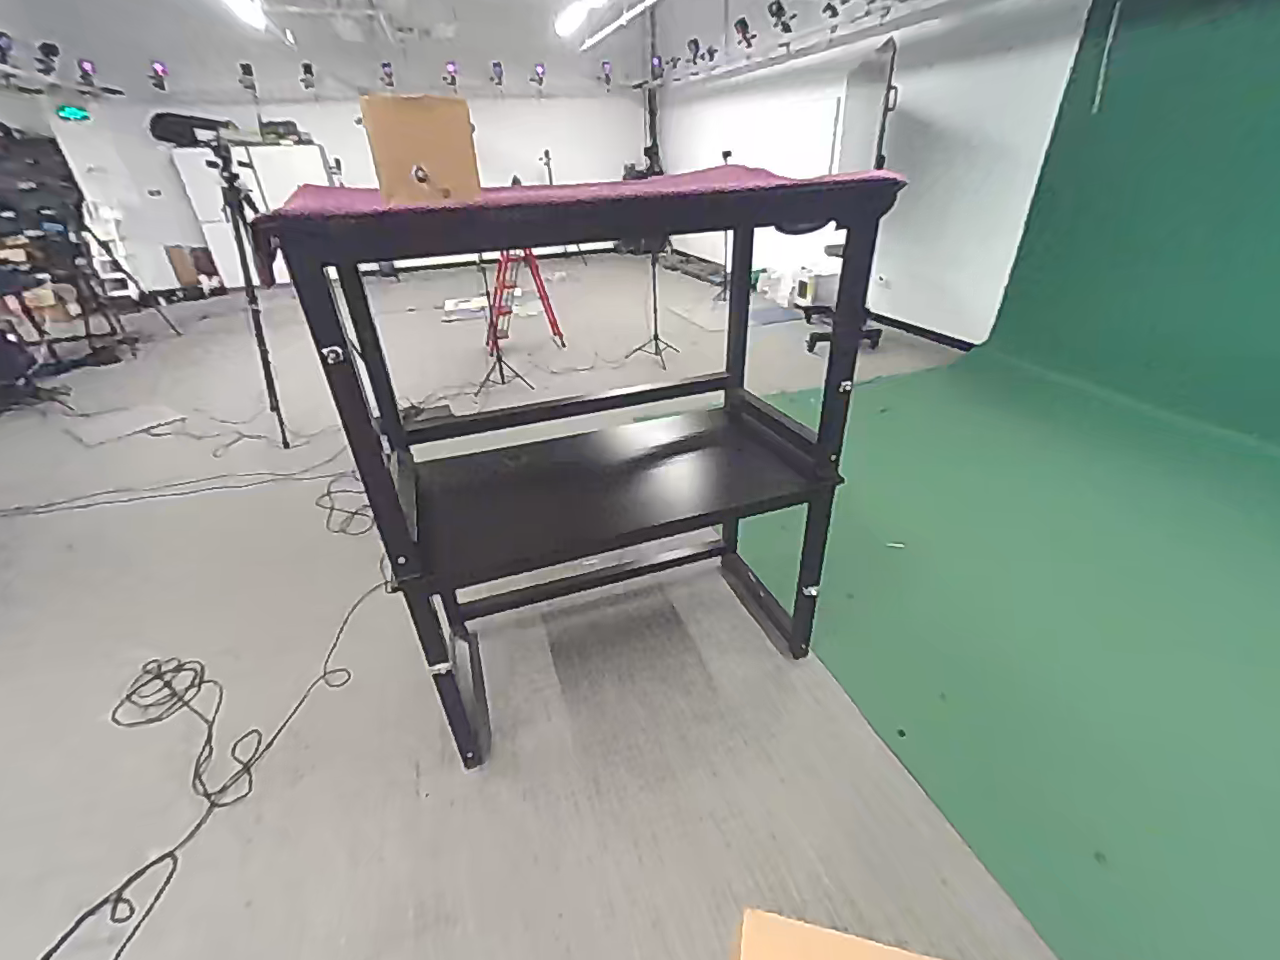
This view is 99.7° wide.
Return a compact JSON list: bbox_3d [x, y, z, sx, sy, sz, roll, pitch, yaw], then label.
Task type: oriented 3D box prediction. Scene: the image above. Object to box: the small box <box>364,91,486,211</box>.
[{"bbox_3d":[-0.382,-0.580,0.970,0.168,0.176,0.179,-13,31,-19],"label":"small box"}]
